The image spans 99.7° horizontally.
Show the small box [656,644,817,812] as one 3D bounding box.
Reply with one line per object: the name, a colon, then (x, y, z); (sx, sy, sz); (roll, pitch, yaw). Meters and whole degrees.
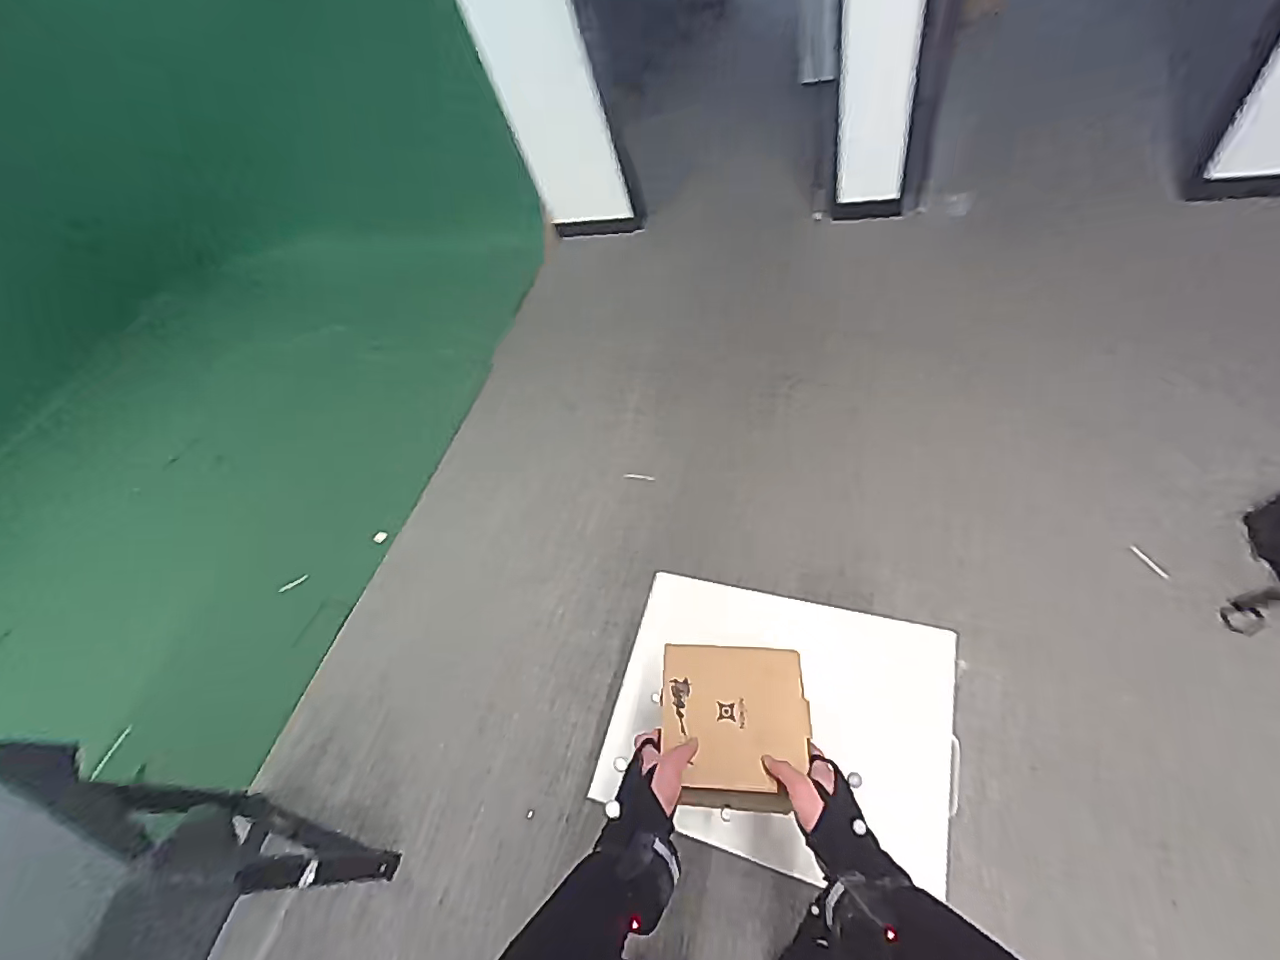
small box: (0.113, 0.327, 0.706); (0.179, 0.176, 0.168); (2, 53, 2)
